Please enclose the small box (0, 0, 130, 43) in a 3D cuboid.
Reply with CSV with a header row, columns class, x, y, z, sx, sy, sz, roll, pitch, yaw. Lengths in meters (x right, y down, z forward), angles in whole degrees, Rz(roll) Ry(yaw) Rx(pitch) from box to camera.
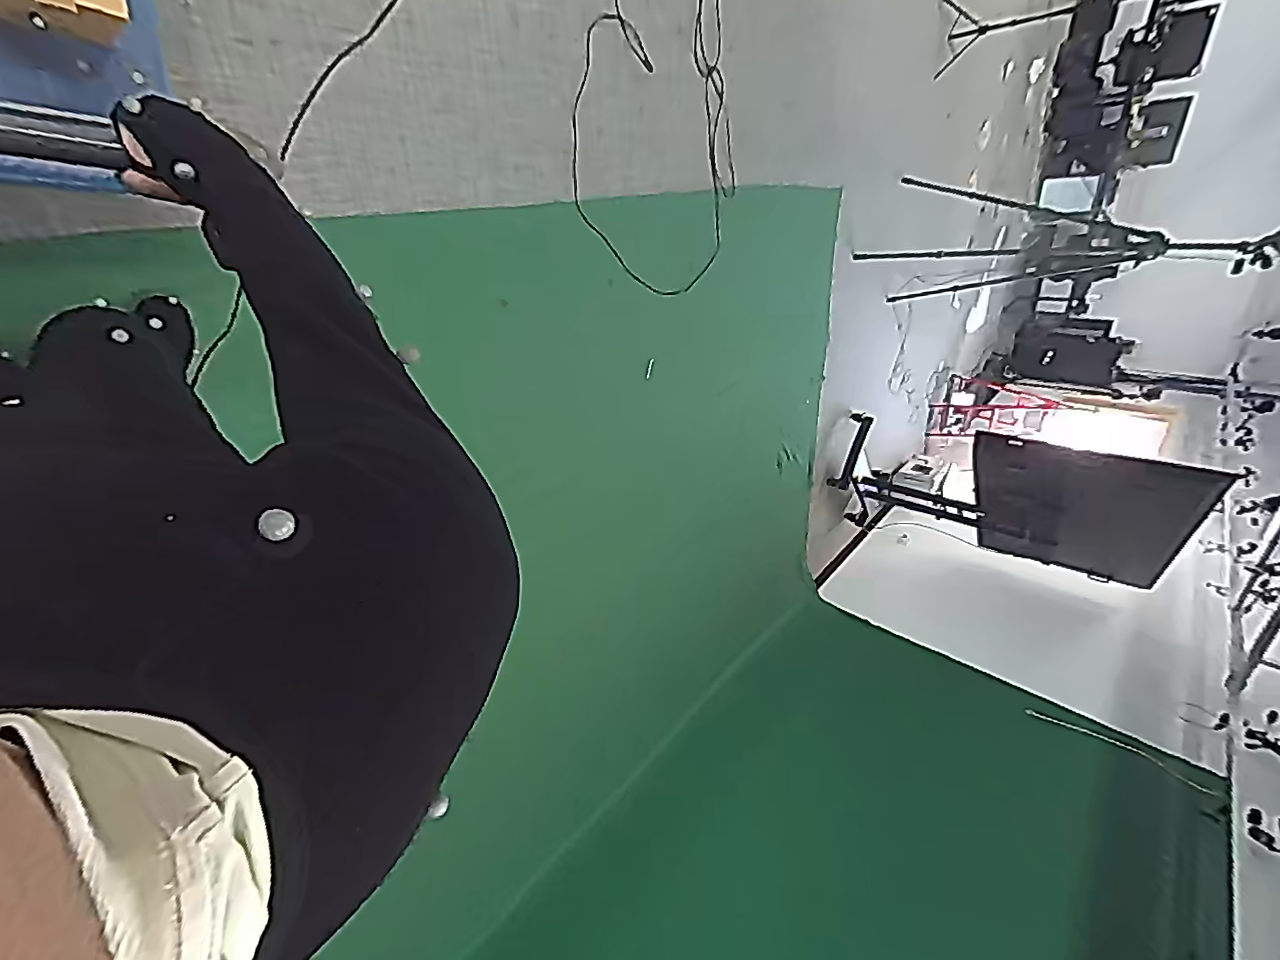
class,x,y,z,sx,sy,sz,roll,pitch,yaw
small box,-0.887,-0.780,0.785,0.168,0.176,0.179,-20,121,-45
